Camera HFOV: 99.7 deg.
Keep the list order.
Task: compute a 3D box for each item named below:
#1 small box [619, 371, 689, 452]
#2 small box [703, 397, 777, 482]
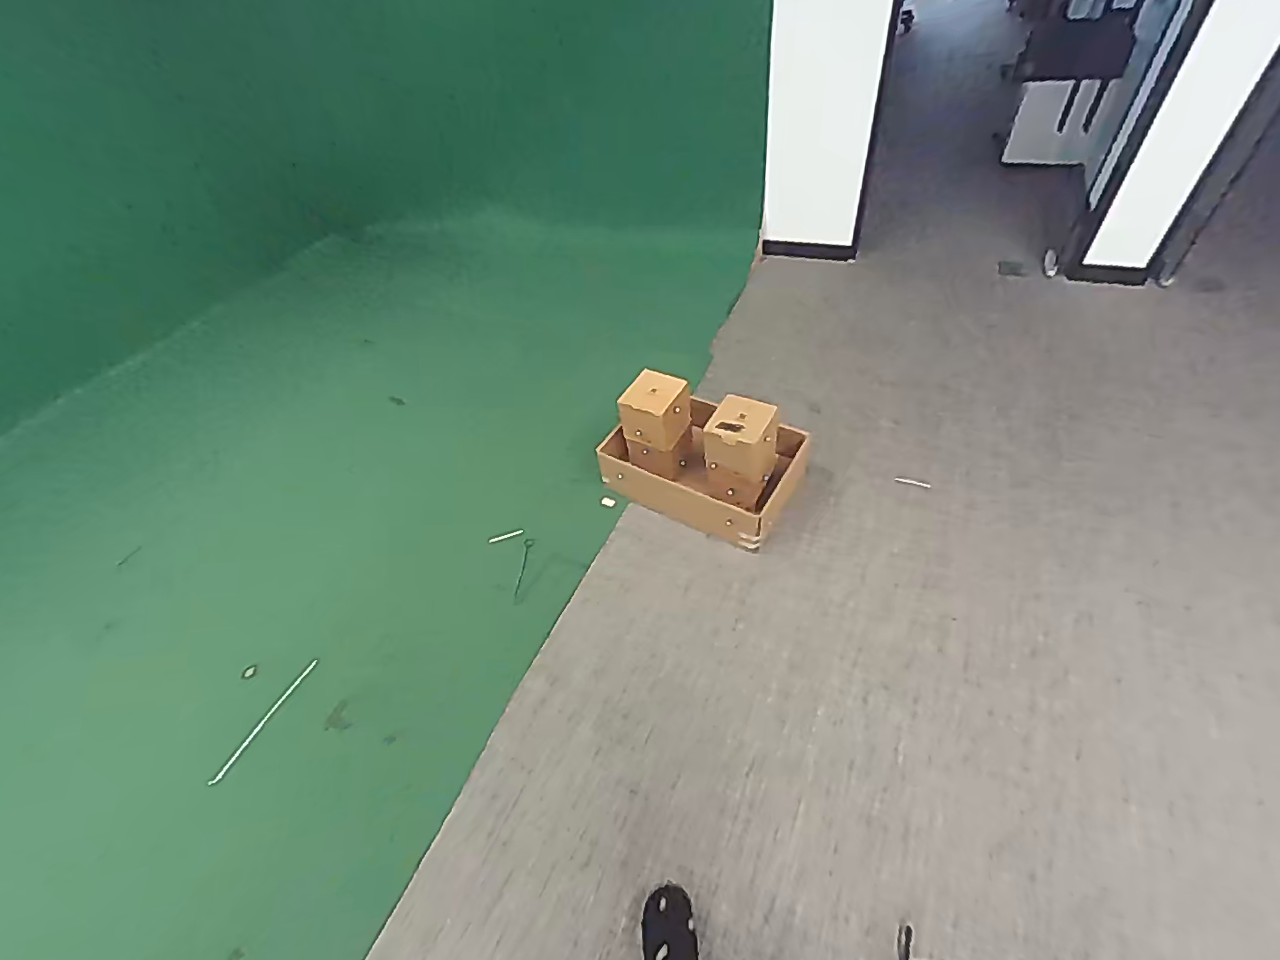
[{"bbox_3d":[0.051,-0.224,1.786,0.168,0.176,0.179,22,58,25],"label":"small box"},{"bbox_3d":[0.307,-0.121,1.649,0.168,0.176,0.179,20,55,25],"label":"small box"}]
